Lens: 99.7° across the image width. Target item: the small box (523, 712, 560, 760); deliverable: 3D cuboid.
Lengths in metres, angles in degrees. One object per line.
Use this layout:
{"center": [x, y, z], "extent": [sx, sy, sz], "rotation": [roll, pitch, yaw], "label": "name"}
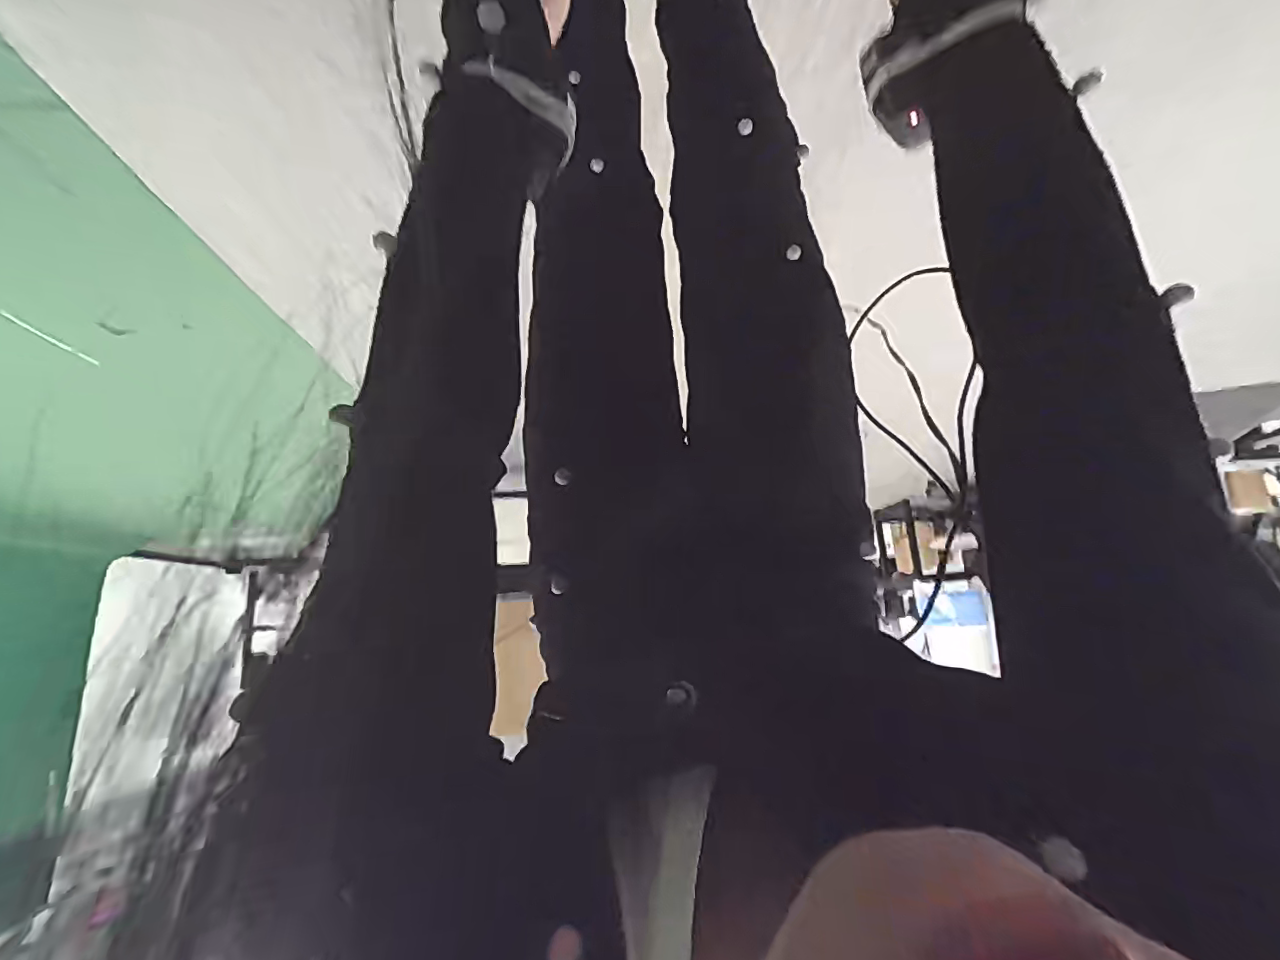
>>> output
{"center": [-0.478, 1.224, 2.596], "extent": [0.168, 0.176, 0.179], "rotation": [0, 165, -13], "label": "small box"}
